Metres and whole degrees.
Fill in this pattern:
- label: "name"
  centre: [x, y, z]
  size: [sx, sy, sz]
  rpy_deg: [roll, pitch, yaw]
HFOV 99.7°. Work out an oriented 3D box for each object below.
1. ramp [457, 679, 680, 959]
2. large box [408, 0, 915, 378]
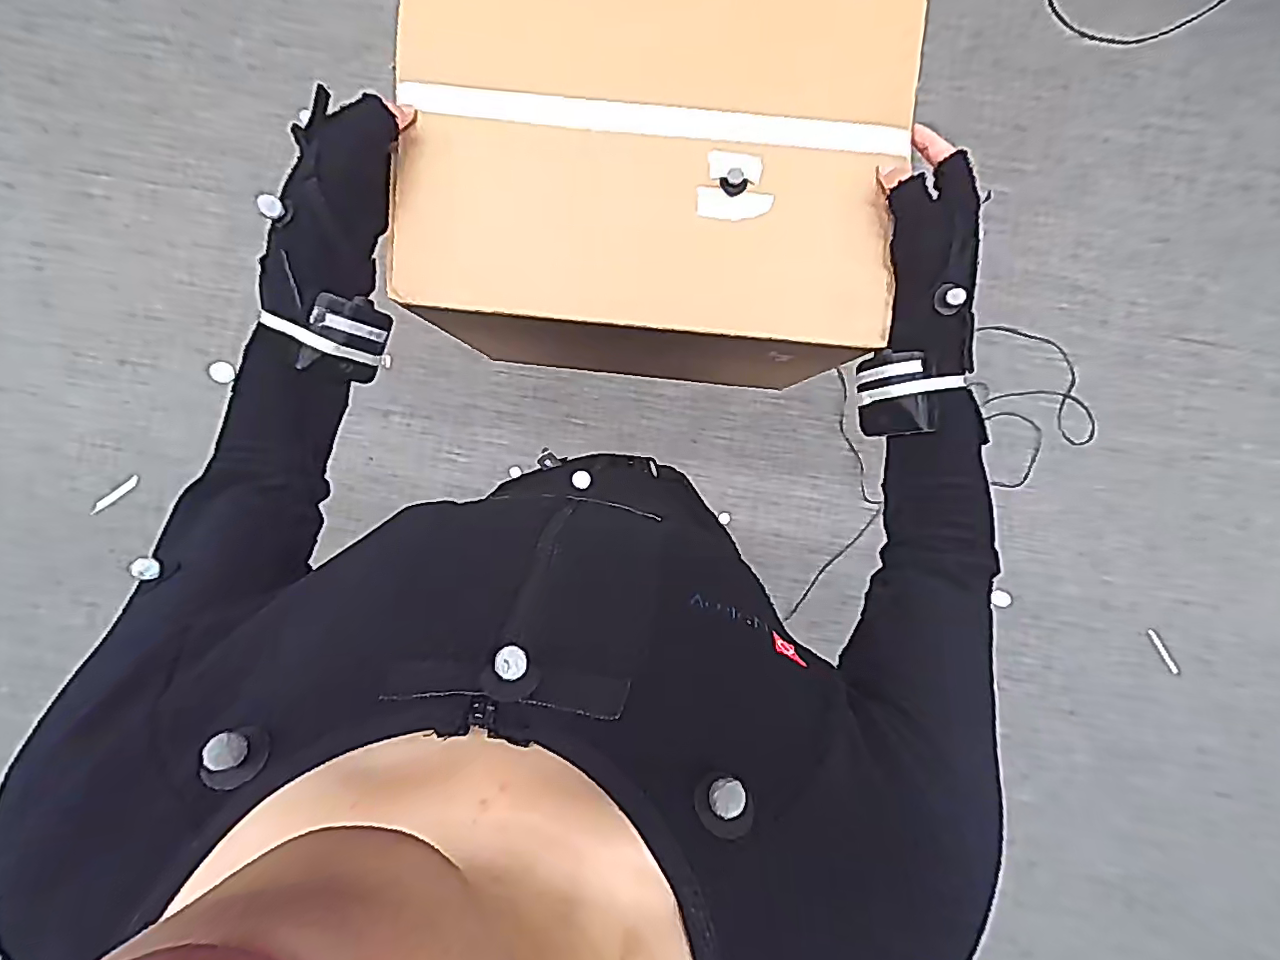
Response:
- label: "ramp"
  centre: [-0.200, 1.068, 1.418]
  size: [0.509, 0.206, 0.991]
  rpy_deg: [7, 91, 2]
- label: "large box"
  centre: [0.013, -0.298, 0.588]
  size: [0.408, 0.320, 0.320]
  rpy_deg: [5, 94, -1]
